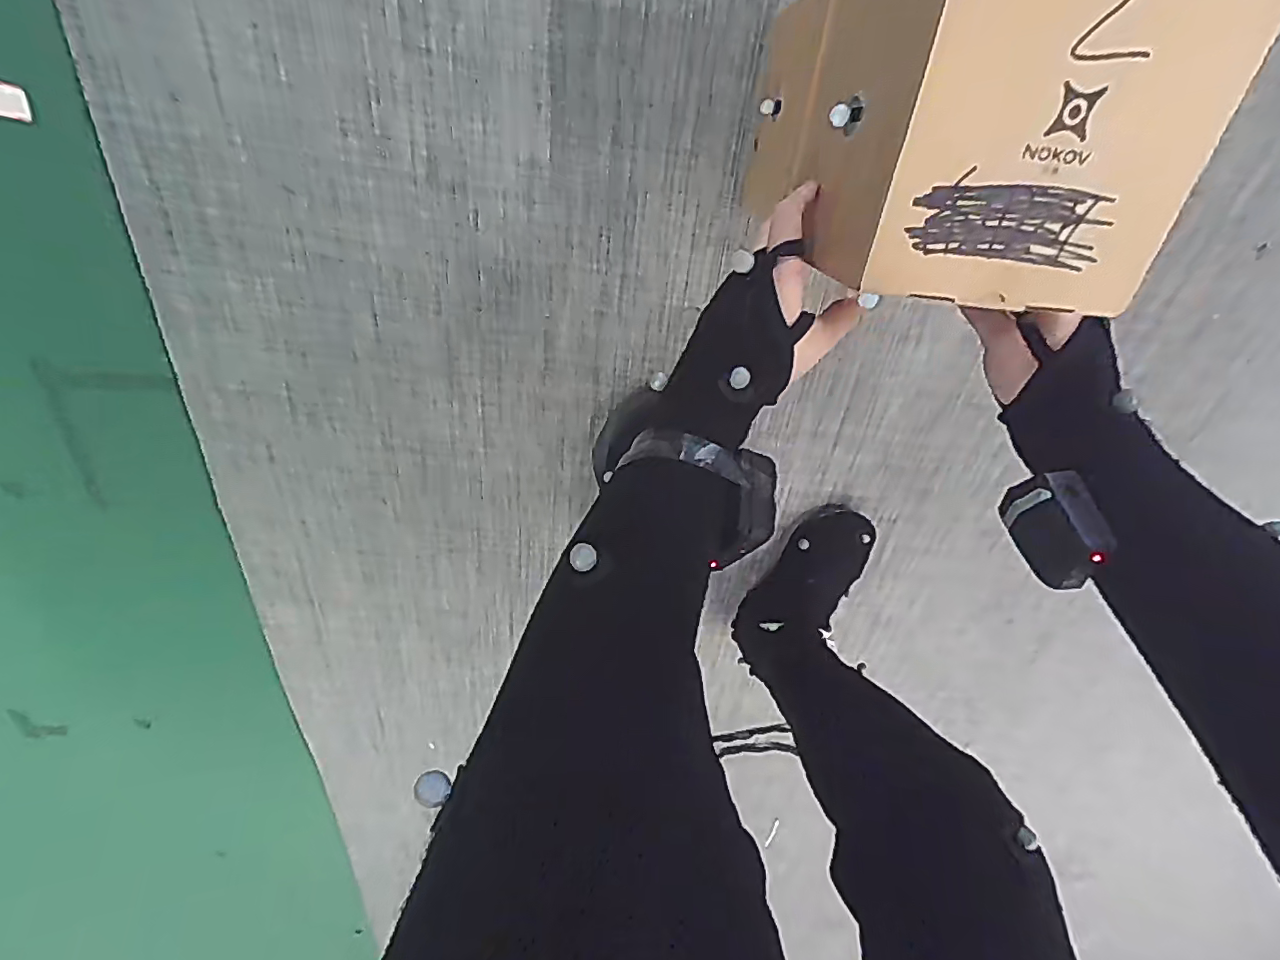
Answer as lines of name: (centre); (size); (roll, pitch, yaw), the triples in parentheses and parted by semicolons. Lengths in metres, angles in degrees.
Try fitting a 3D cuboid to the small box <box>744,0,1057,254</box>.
small box: (0.205, -0.313, 0.492); (0.179, 0.176, 0.168); (4, 121, -5)
